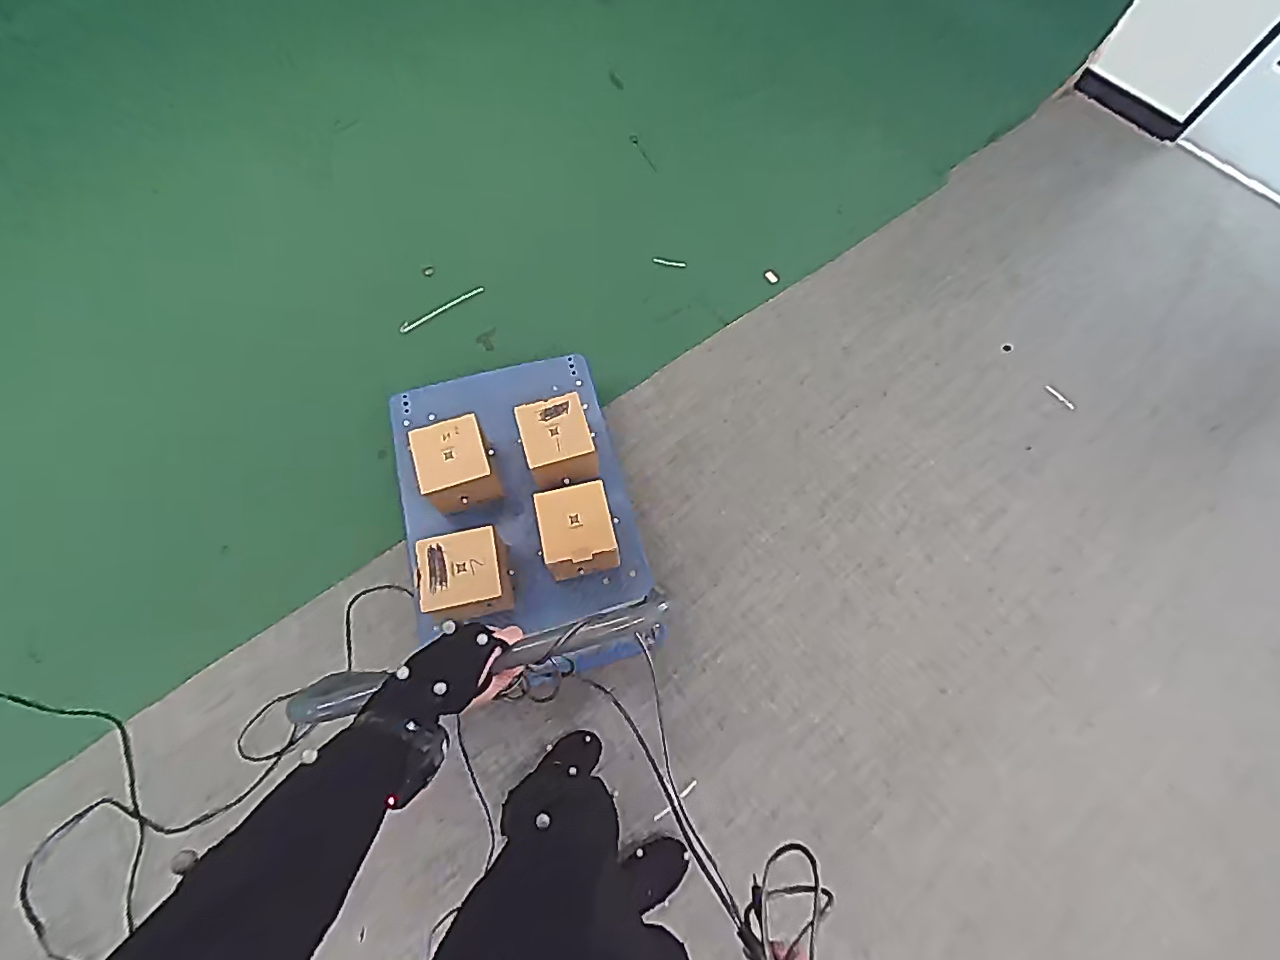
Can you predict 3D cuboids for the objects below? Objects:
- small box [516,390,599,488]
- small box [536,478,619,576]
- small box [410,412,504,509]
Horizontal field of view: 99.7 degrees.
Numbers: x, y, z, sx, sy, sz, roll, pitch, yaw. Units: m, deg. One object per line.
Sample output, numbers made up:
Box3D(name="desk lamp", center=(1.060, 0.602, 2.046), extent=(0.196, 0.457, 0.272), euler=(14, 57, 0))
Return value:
Box3D(name="small box", center=(-0.208, -0.102, 1.392), extent=(0.168, 0.176, 0.179), euler=(-16, 71, -6))
Box3D(name="small box", center=(-0.148, 0.118, 1.309), extent=(0.168, 0.176, 0.179), euler=(-13, 70, -5))
Box3D(name="small box", center=(-0.455, -0.040, 1.365), extent=(0.168, 0.176, 0.179), euler=(-17, 70, -8))
